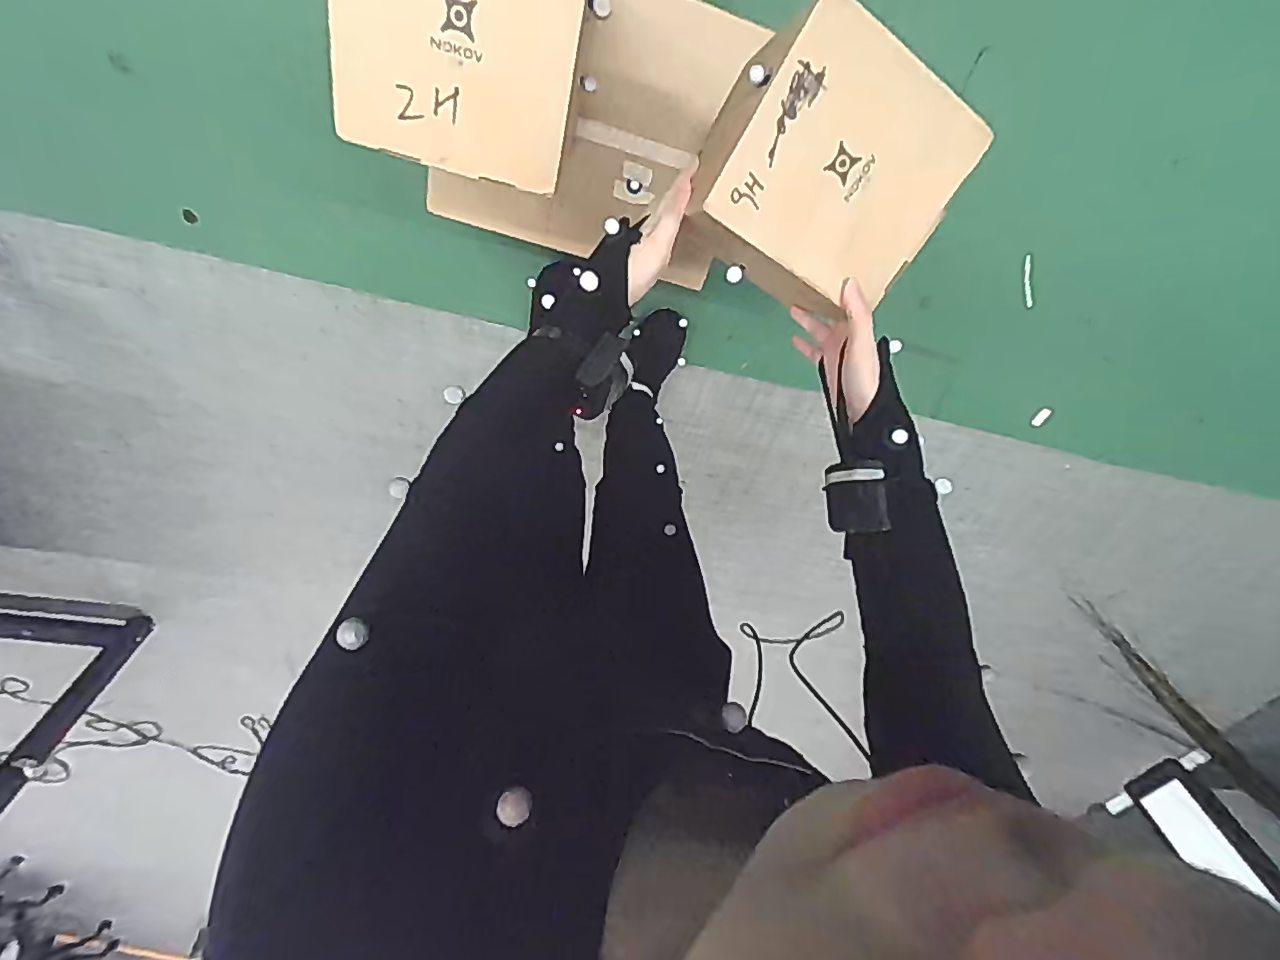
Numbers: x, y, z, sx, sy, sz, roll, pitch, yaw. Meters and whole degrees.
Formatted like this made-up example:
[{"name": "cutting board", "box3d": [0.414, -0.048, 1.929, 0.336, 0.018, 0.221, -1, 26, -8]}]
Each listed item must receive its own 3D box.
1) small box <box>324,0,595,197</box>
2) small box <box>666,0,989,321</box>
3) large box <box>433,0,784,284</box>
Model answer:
[{"name": "small box", "box3d": [-0.129, -0.352, 0.427, 0.168, 0.176, 0.179, 11, 125, -11]}, {"name": "small box", "box3d": [0.146, -0.269, 0.483, 0.179, 0.176, 0.168, 27, 107, -18]}, {"name": "large box", "box3d": [-0.061, -0.532, 0.804, 0.408, 0.320, 0.320, 11, 125, -12]}]
